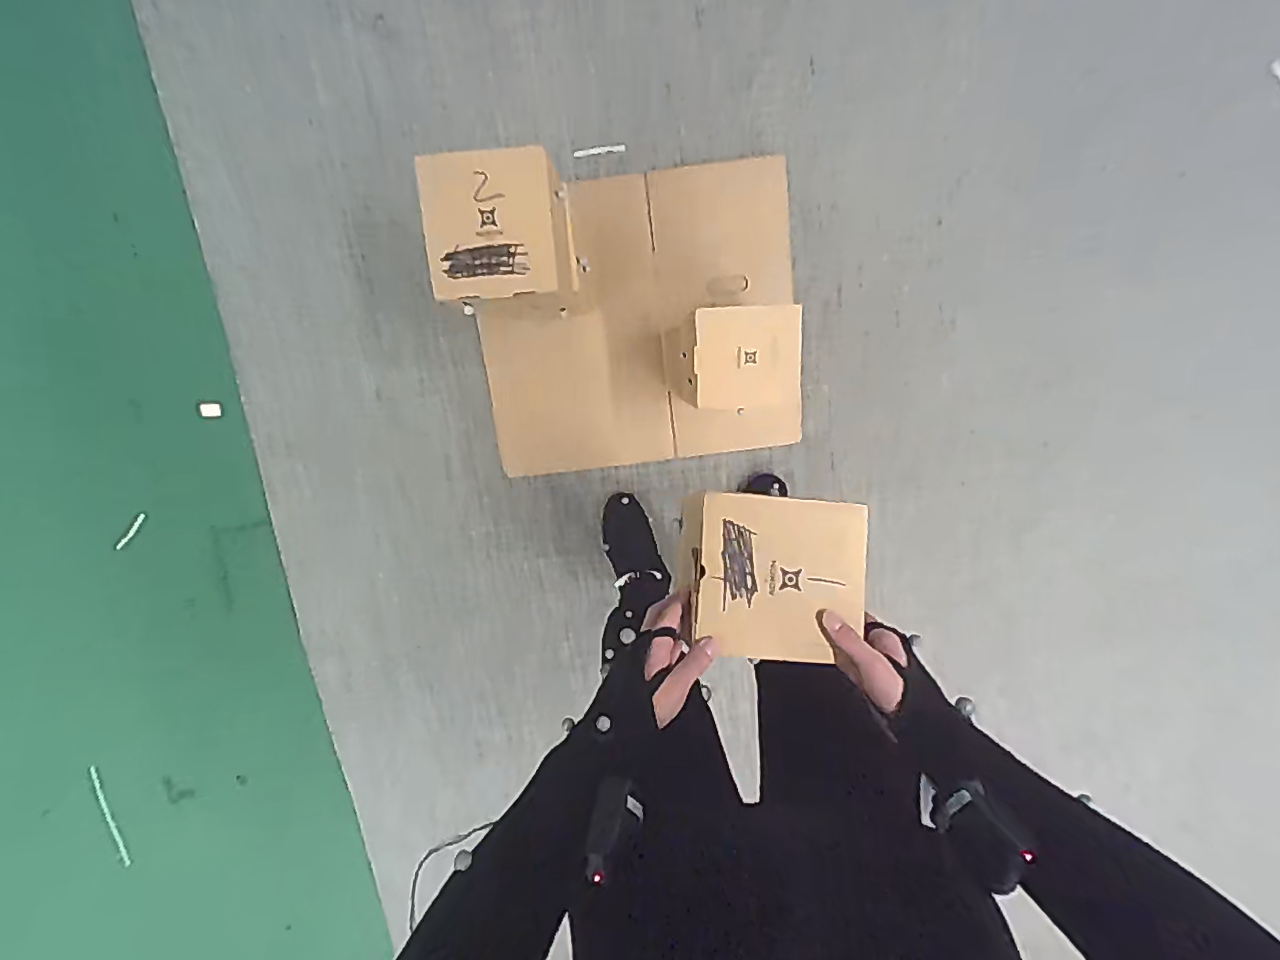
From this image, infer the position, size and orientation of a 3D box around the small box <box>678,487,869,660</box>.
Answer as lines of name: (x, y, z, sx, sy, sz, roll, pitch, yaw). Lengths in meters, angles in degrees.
small box: (0.142, 0.103, 0.630, 0.179, 0.176, 0.168, 5, 85, -3)

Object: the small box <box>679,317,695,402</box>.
small box: (0.178, -0.254, 1.117, 0.179, 0.176, 0.168, -4, 102, 1)

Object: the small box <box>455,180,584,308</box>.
small box: (-0.191, -0.389, 0.917, 0.179, 0.176, 0.168, -5, 103, 2)

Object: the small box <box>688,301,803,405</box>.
small box: (0.177, -0.221, 0.957, 0.179, 0.176, 0.168, -2, 103, 0)

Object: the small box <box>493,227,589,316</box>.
small box: (-0.198, -0.424, 1.074, 0.179, 0.176, 0.168, -6, 102, 1)
